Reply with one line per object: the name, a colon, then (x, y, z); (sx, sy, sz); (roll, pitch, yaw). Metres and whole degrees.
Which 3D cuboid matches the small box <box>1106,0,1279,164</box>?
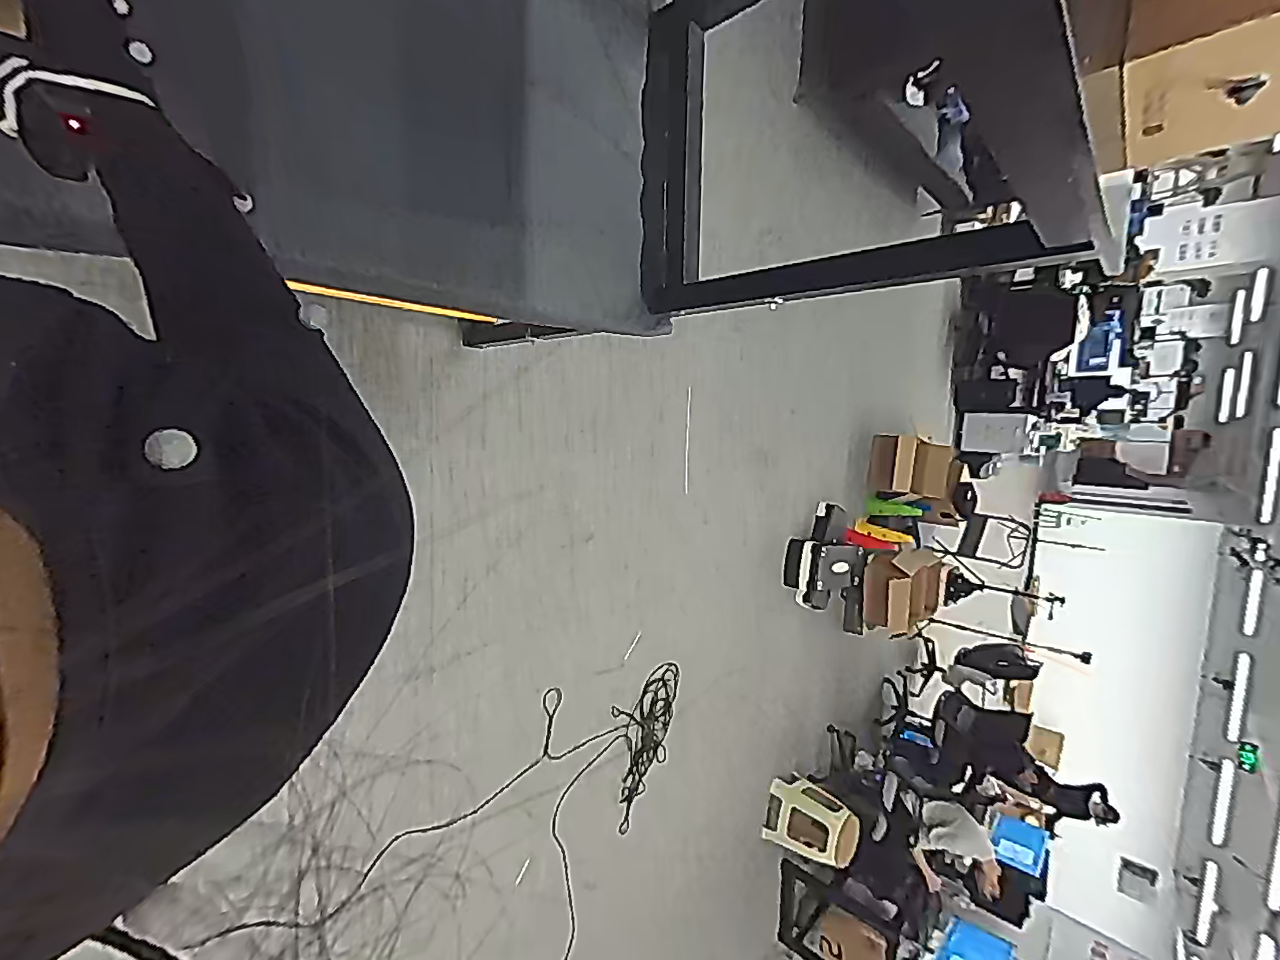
small box: (0.524, -0.417, 0.470); (0.168, 0.176, 0.179); (11, 87, -48)
